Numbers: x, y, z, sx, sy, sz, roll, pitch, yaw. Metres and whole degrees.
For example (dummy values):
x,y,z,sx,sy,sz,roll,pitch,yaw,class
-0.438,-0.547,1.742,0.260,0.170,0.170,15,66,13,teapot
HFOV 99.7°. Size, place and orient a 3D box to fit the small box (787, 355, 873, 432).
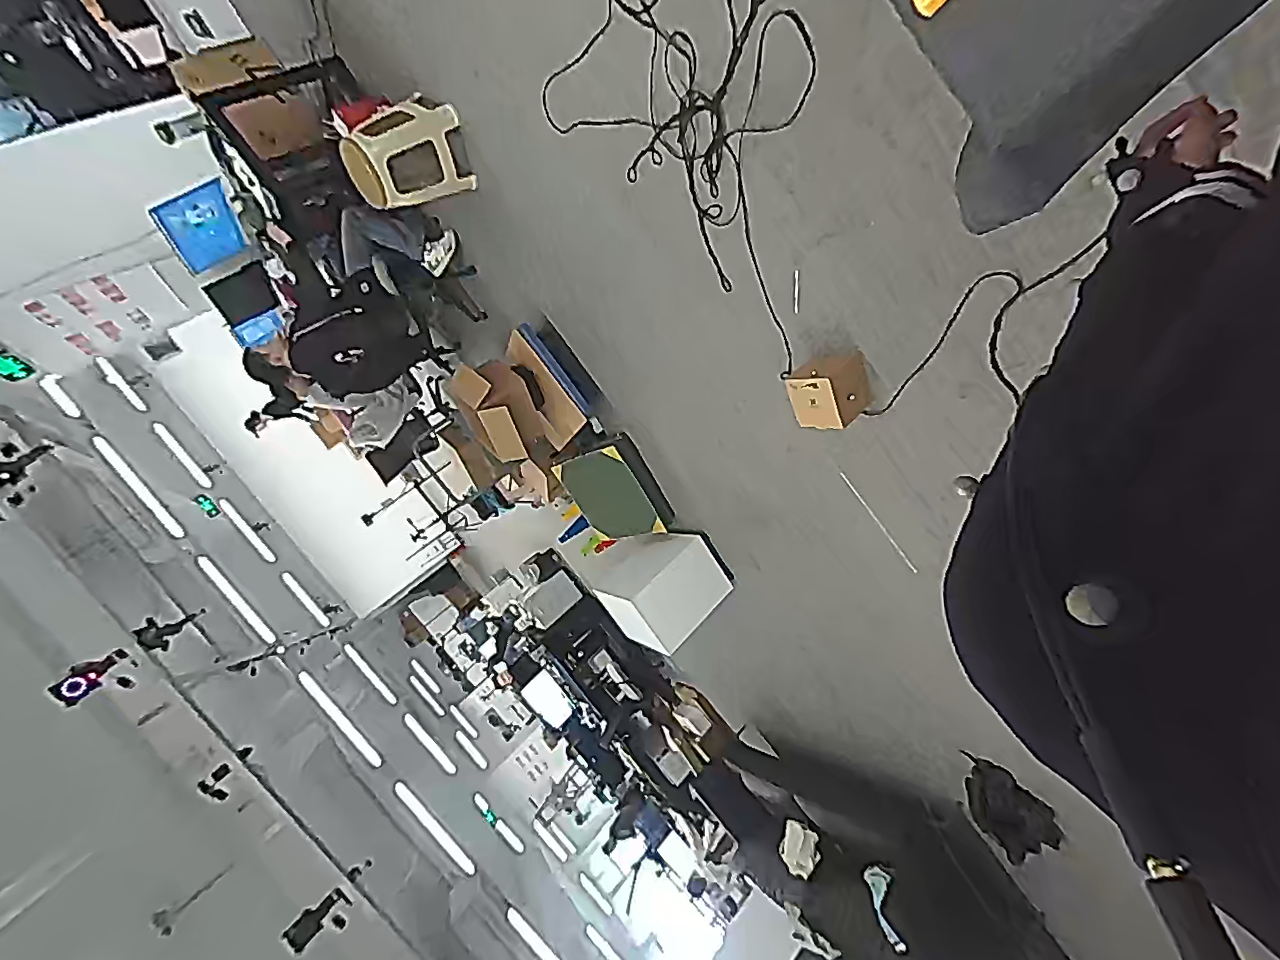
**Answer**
x,y,z,sx,sy,sz,roll,pitch,yaw,class
0.595,-0.269,1.679,0.168,0.176,0.179,12,135,54,small box
